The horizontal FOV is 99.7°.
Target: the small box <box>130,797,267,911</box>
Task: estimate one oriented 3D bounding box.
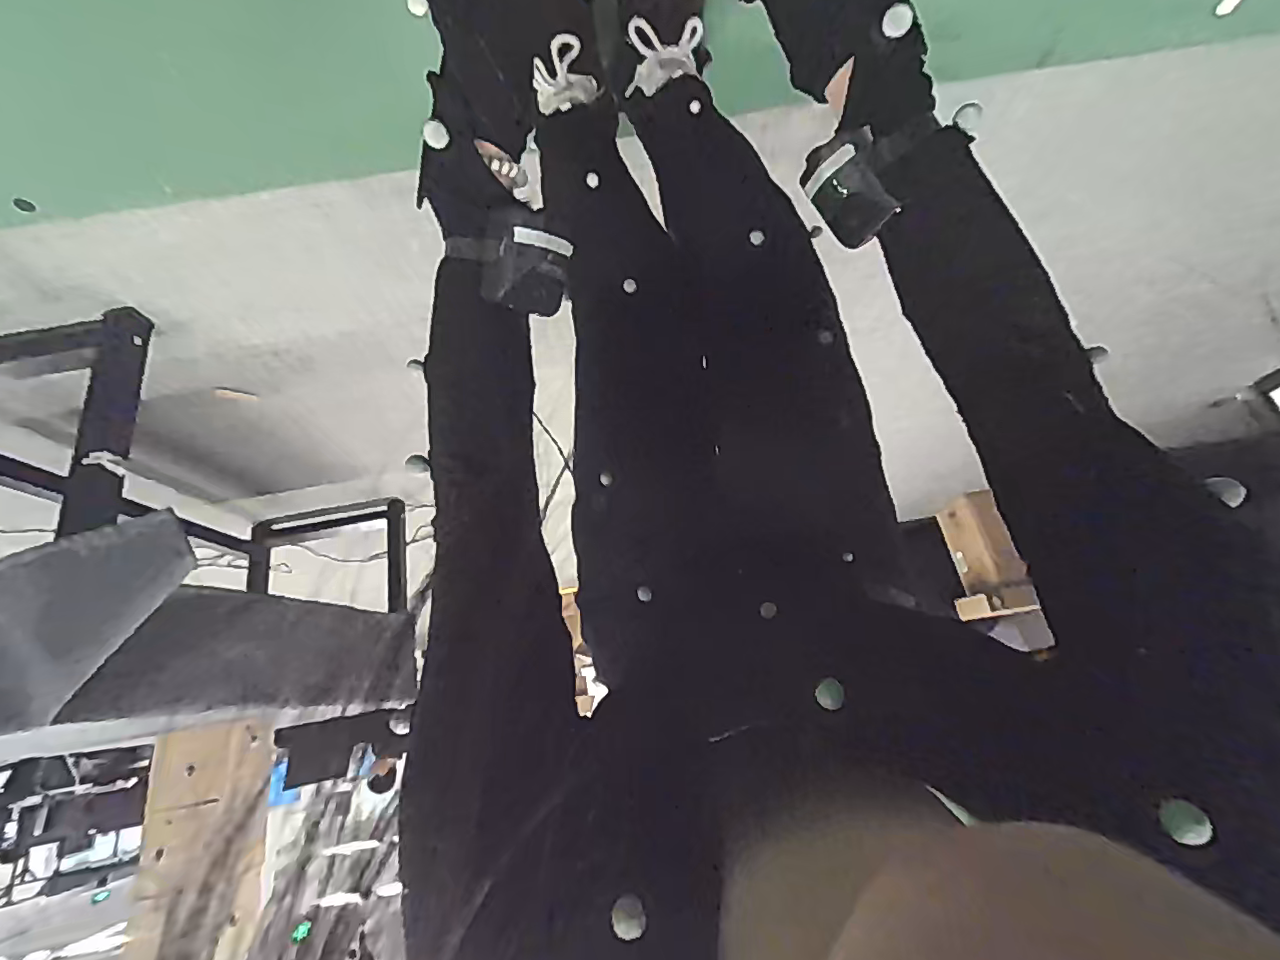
[{"bbox_3d":[-0.997,0.842,1.237,0.168,0.176,0.179,-9,158,1],"label":"small box"}]

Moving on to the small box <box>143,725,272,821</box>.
[{"bbox_3d":[-1.021,0.691,1.294,0.179,0.176,0.168,-10,159,-2],"label":"small box"}]
